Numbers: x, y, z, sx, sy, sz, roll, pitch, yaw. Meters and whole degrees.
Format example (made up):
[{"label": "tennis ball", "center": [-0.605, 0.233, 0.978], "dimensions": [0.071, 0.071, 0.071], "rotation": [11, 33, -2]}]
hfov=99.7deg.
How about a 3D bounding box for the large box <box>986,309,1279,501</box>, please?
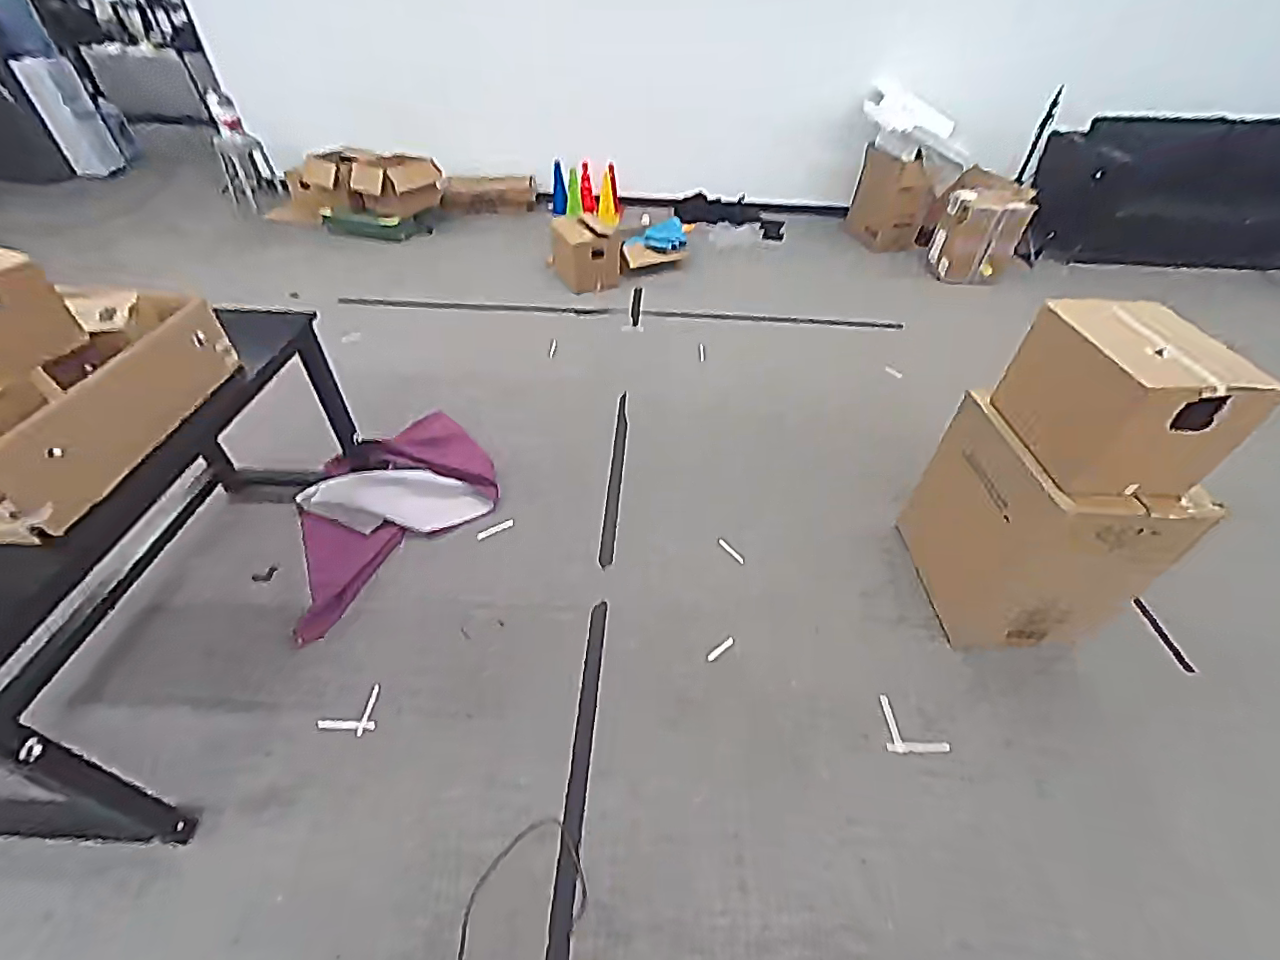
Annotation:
[{"label": "large box", "center": [1.184, -0.195, 1.369], "dimensions": [0.320, 0.320, 0.408], "rotation": [0, 44, -2]}]
